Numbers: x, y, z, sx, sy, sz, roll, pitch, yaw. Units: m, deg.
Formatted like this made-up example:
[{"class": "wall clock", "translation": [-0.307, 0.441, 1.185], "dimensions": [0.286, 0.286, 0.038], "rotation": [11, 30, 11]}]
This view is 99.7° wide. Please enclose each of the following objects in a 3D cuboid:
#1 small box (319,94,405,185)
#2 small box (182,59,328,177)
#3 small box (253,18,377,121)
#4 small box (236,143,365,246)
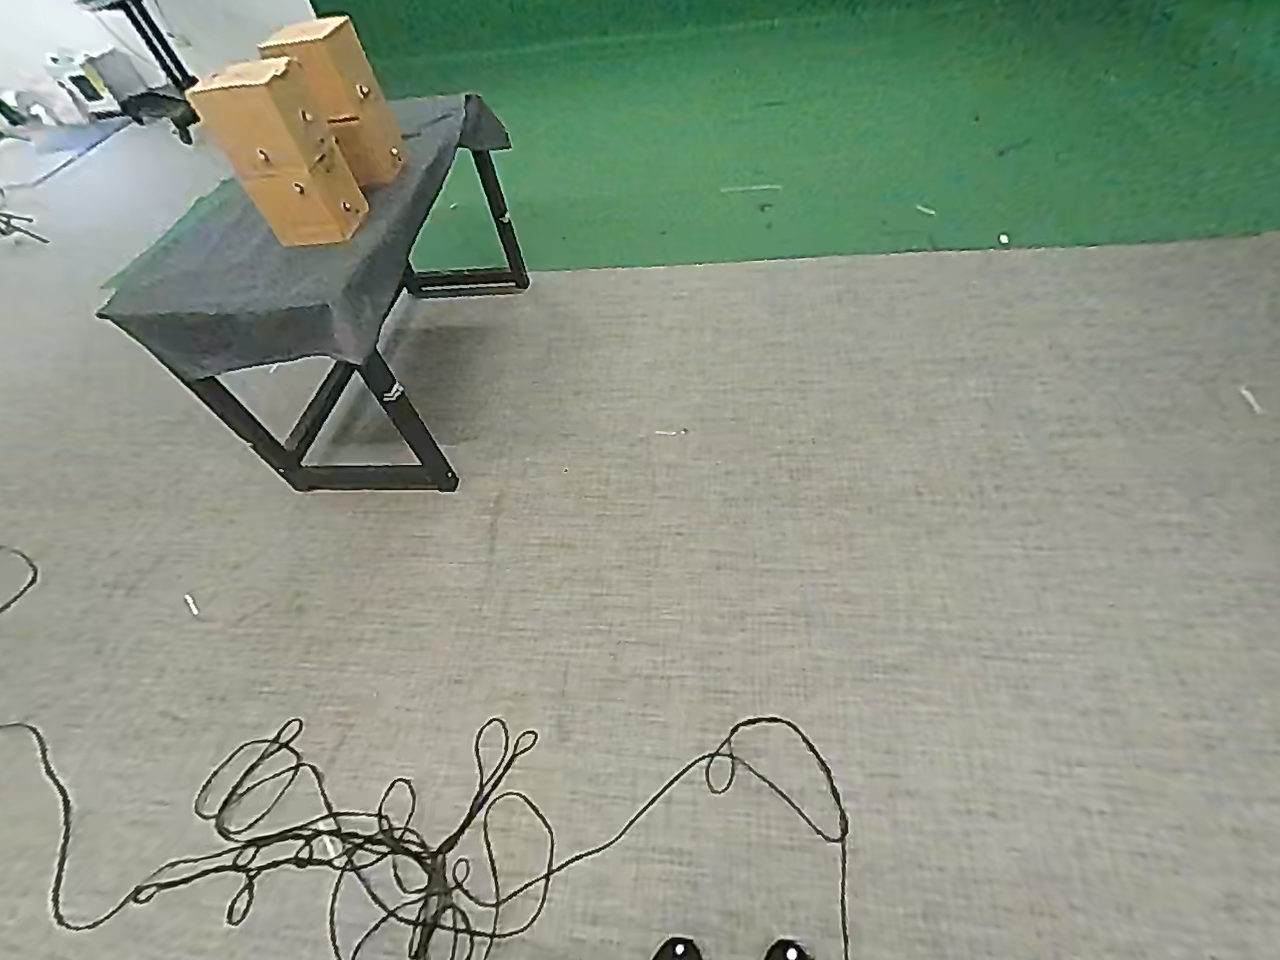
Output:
[{"class": "small box", "translation": [-0.792, -0.935, 1.499], "dimensions": [0.179, 0.176, 0.168], "rotation": [-1, 54, 7]}, {"class": "small box", "translation": [-0.835, -0.796, 1.198], "dimensions": [0.179, 0.176, 0.168], "rotation": [-3, 52, 4]}, {"class": "small box", "translation": [-0.811, -1.029, 1.368], "dimensions": [0.179, 0.176, 0.168], "rotation": [0, 55, 8]}, {"class": "small box", "translation": [-0.820, -0.694, 1.324], "dimensions": [0.179, 0.176, 0.168], "rotation": [-2, 53, 6]}]
